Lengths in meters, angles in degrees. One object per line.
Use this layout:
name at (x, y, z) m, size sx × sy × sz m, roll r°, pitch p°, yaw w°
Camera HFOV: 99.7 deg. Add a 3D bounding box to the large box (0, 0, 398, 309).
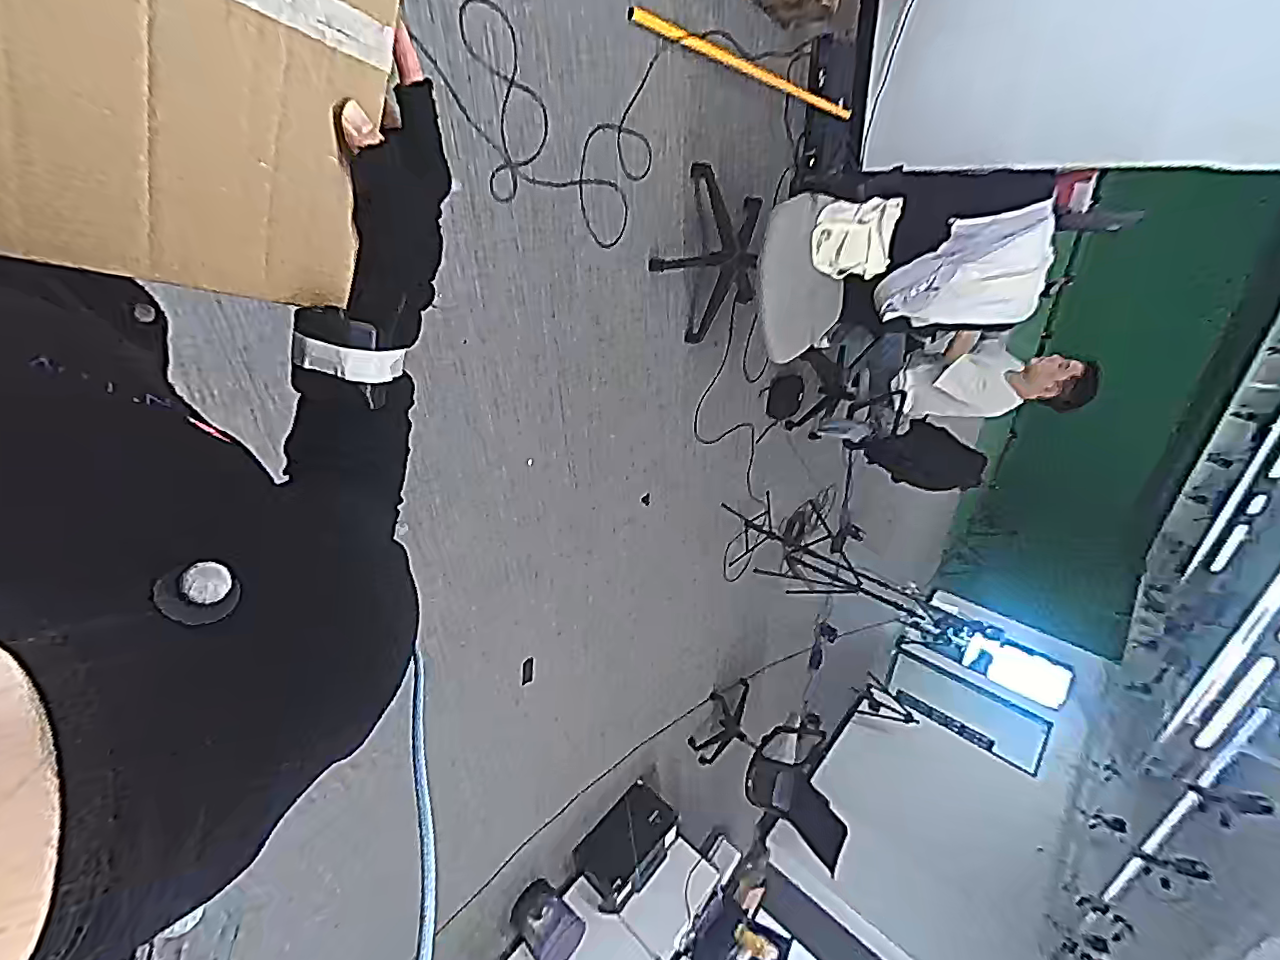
large box at (-0.377, -0.323, 0.264) m, size 0.408 × 0.320 × 0.320 m, roll -2°, pitch 130°, yaw -44°
